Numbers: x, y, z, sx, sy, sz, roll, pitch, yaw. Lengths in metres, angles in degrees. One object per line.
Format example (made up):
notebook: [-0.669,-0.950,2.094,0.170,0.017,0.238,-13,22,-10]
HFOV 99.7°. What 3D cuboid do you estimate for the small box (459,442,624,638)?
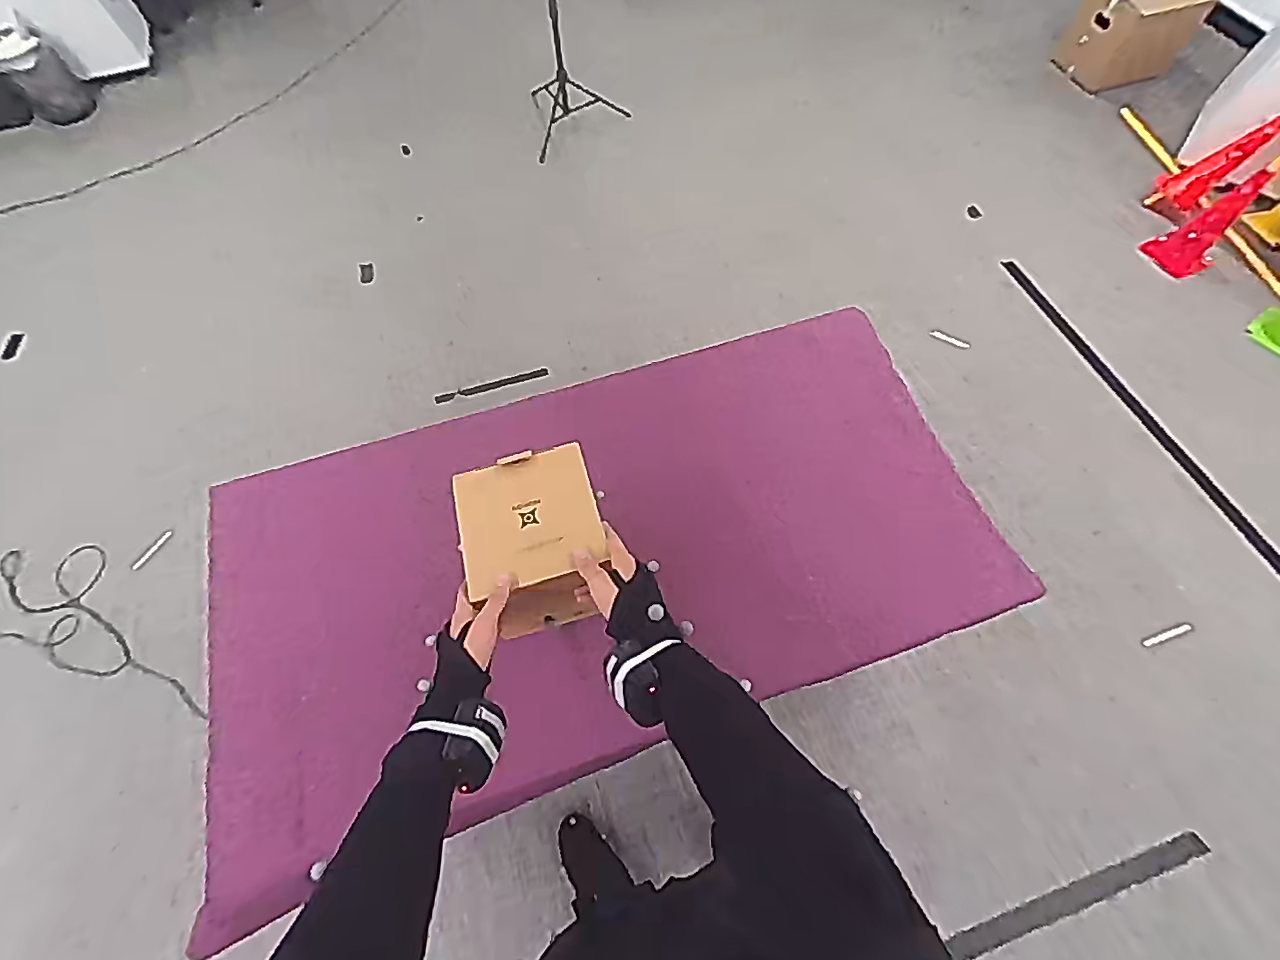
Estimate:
small box: [-0.122,0.082,0.704,0.168,0.176,0.179,-15,59,-6]
